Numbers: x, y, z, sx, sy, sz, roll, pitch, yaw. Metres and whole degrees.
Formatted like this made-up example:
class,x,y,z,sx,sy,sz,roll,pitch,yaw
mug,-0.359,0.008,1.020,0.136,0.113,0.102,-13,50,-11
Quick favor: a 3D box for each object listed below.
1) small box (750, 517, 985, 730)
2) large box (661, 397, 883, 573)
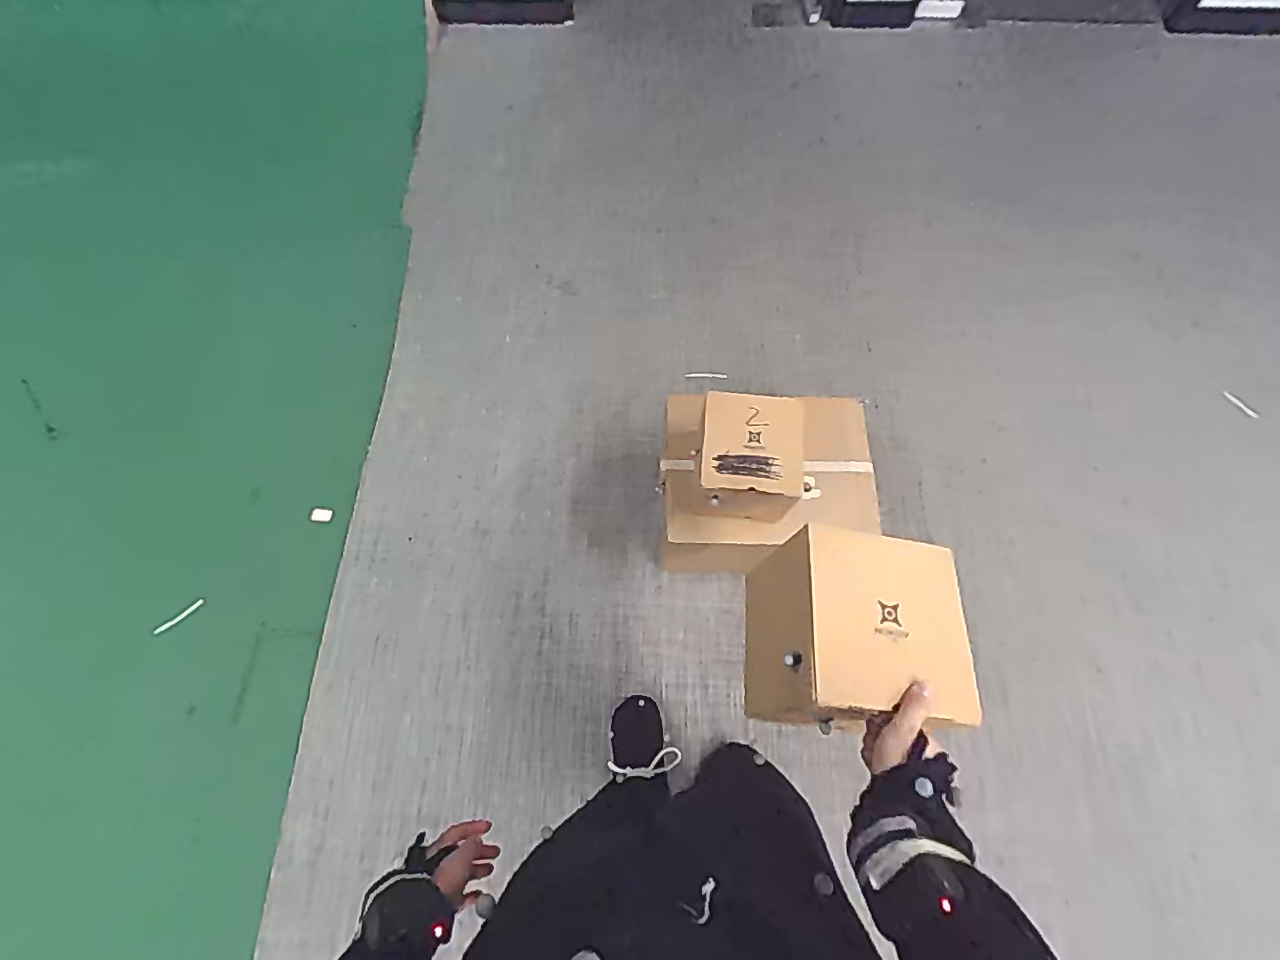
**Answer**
class,x,y,z,sx,sy,sz,roll,pitch,yaw
small box,0.227,0.164,0.590,0.168,0.176,0.179,11,61,-8
large box,0.255,0.027,1.194,0.408,0.320,0.320,1,71,-1
